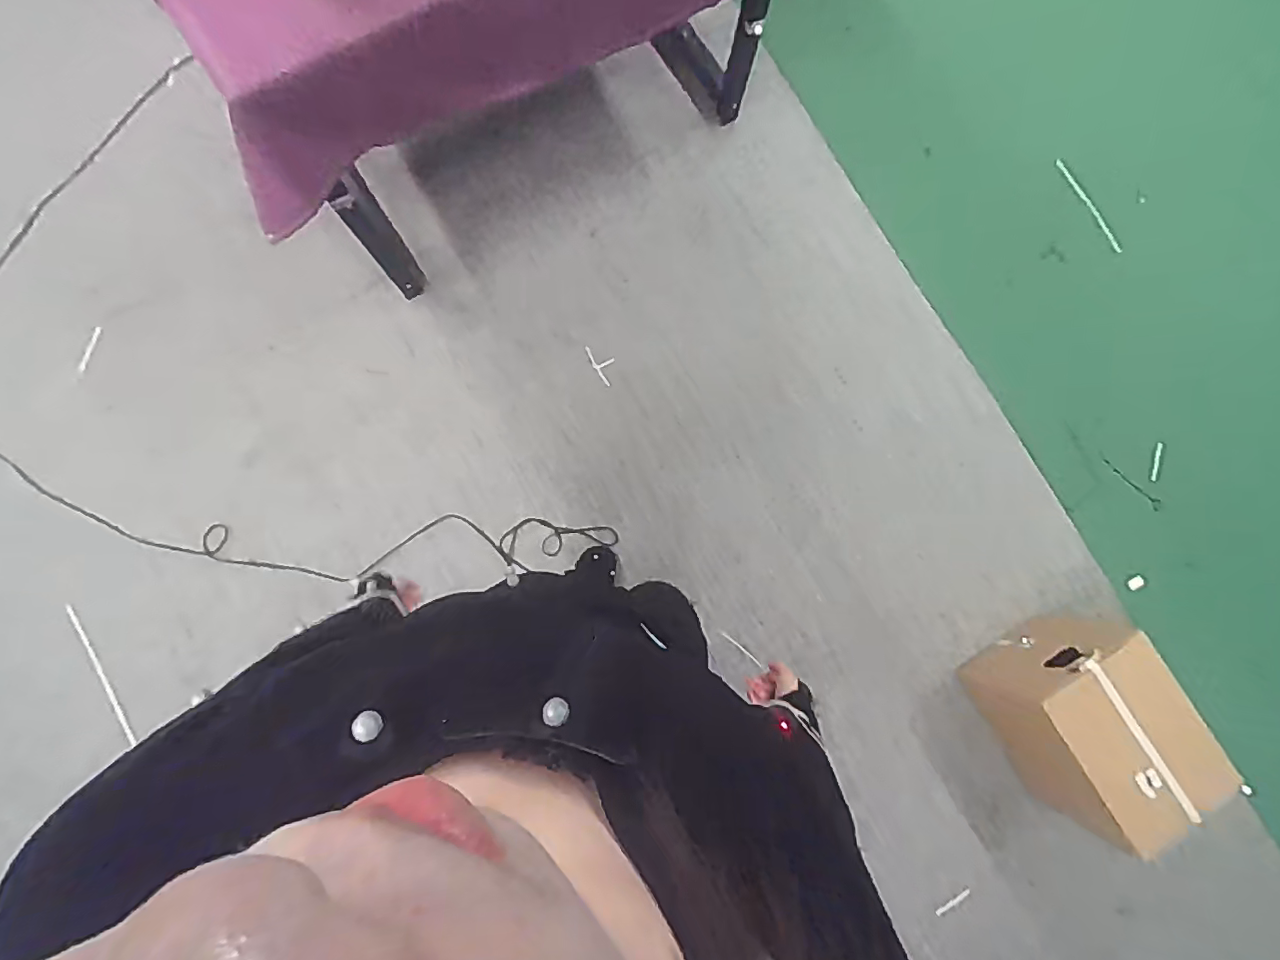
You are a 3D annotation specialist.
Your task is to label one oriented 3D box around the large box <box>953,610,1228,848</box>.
[{"bbox_3d":[1.118,0.599,1.386,0.320,0.320,0.408,-30,87,-7],"label":"large box"}]
